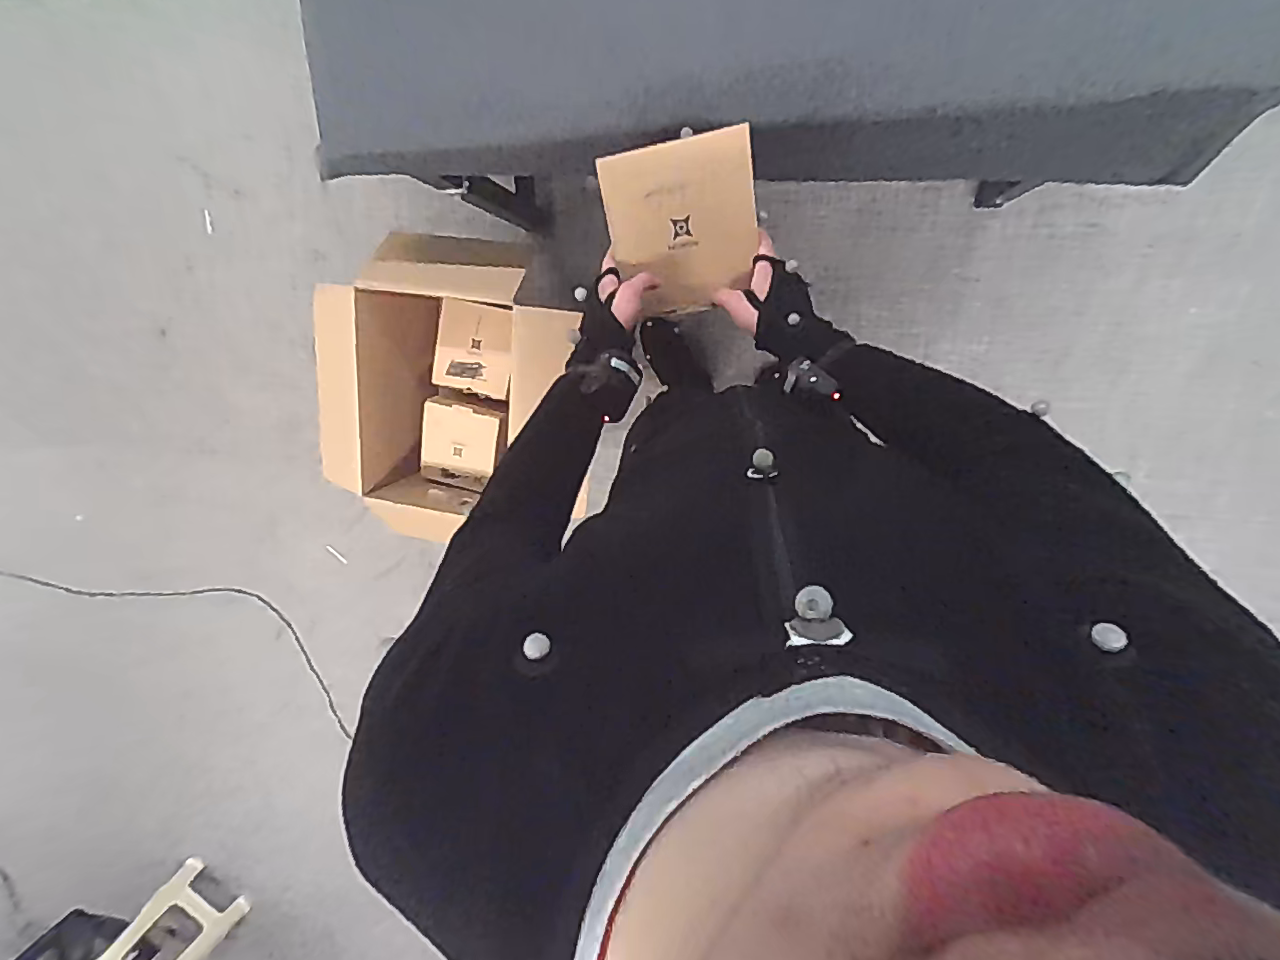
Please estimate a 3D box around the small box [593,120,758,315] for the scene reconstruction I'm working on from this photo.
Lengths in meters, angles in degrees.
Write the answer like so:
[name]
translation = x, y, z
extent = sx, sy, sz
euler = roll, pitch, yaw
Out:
[small box]
translation = 0.056, -0.322, 0.672
extent = 0.168, 0.176, 0.179
euler = -7, 117, 12
